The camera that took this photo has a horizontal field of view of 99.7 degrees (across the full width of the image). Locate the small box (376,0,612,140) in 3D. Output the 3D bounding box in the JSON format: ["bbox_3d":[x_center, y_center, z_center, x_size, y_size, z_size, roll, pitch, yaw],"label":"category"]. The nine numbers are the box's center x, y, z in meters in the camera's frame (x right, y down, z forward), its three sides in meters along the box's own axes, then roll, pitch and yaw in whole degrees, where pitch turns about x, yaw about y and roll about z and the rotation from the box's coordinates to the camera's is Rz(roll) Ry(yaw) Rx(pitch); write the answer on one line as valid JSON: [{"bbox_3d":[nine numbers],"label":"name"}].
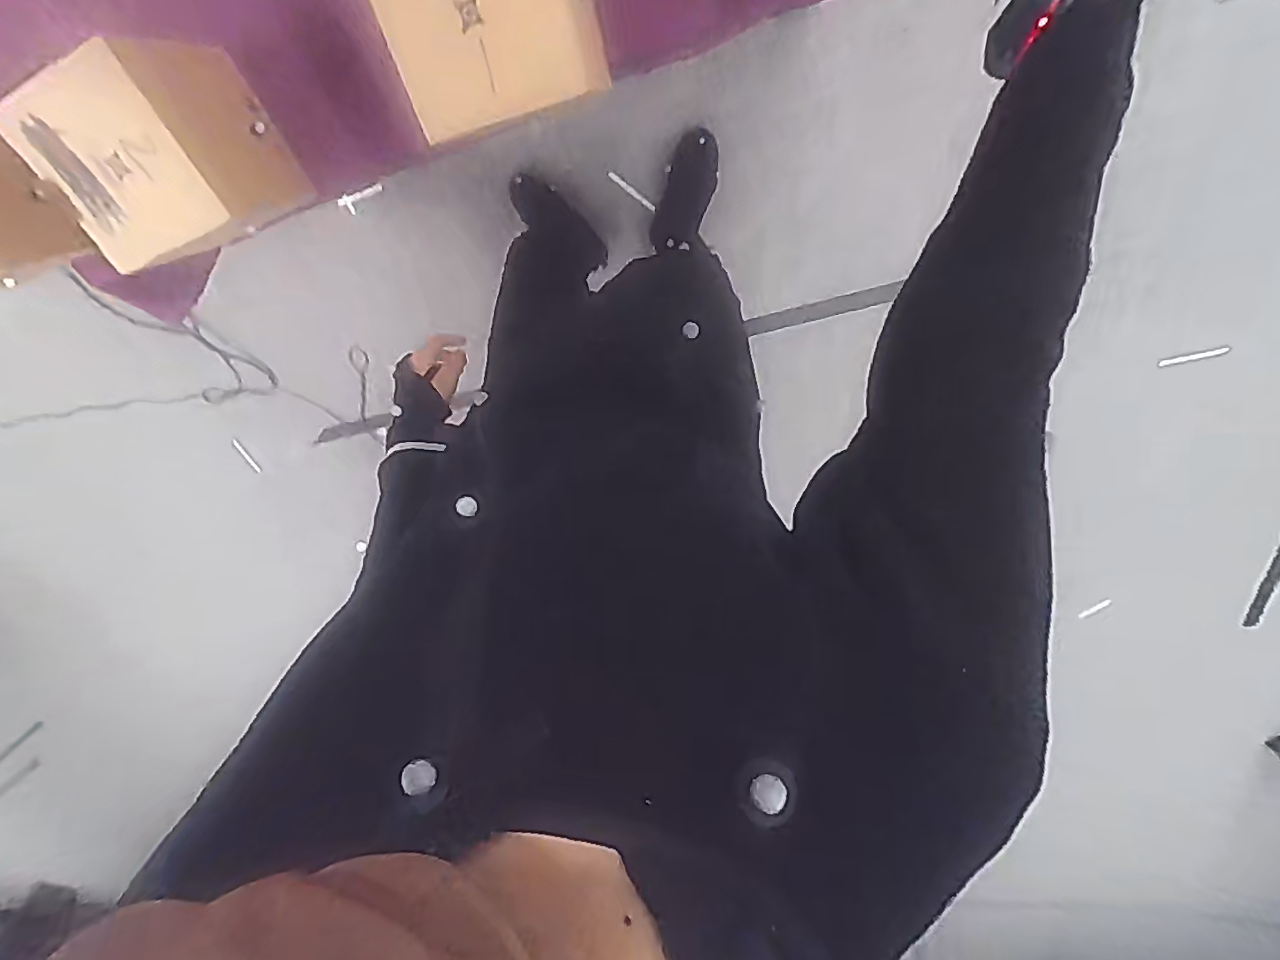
[{"bbox_3d":[-0.134,-0.450,0.516,0.168,0.176,0.179,-8,125,13],"label":"small box"}]

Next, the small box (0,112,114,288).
[{"bbox_3d":[-0.844,-0.339,0.678,0.179,0.176,0.168,-13,123,14],"label":"small box"}]
